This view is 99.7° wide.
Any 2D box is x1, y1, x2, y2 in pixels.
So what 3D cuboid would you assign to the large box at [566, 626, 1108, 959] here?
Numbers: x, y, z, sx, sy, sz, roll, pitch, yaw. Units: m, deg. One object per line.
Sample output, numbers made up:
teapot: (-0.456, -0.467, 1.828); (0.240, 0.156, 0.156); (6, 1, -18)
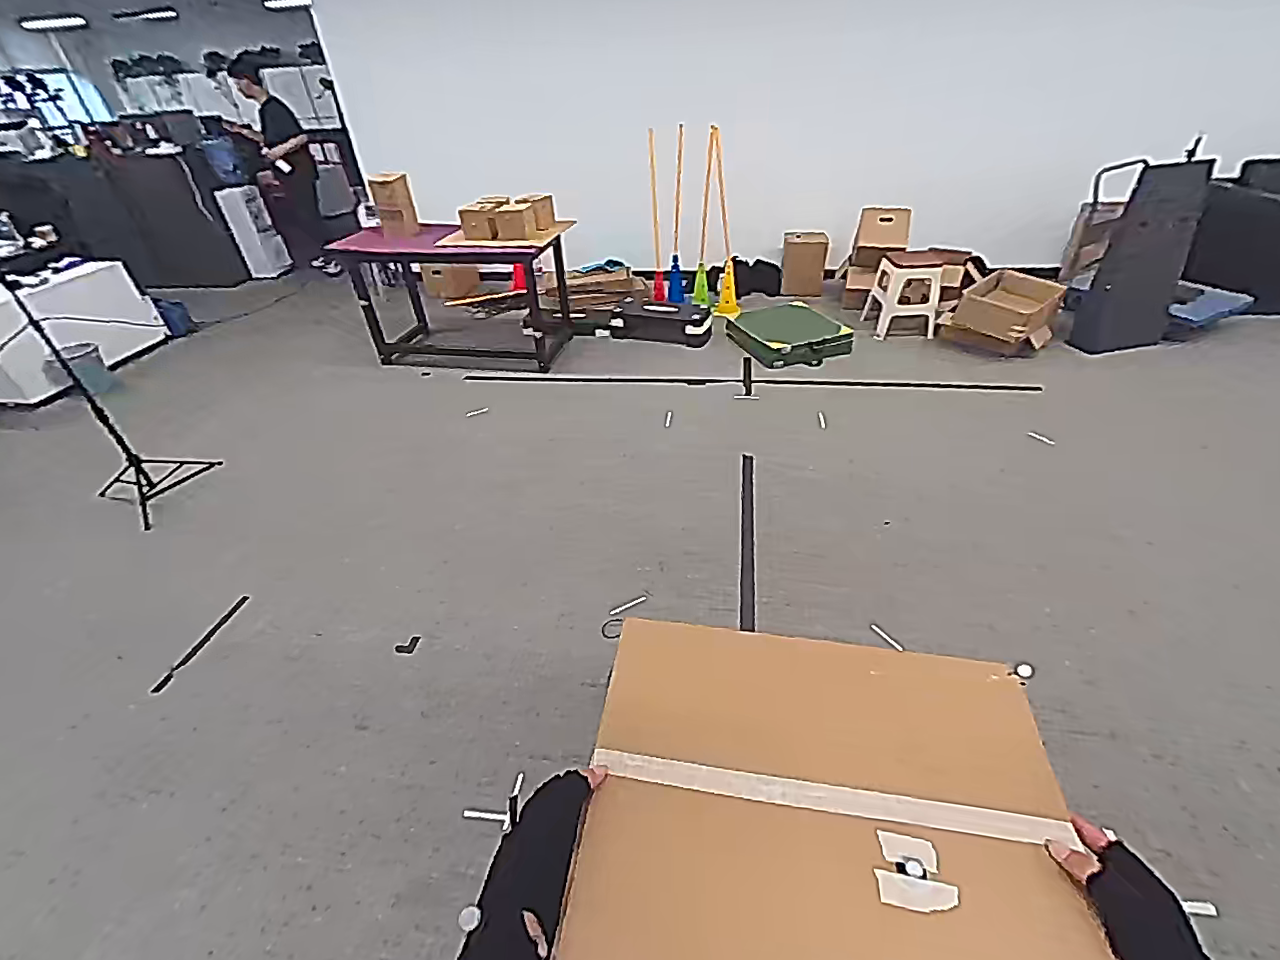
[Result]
large box: (0.166, 0.394, 0.581); (0.408, 0.320, 0.320); (5, 44, 9)
